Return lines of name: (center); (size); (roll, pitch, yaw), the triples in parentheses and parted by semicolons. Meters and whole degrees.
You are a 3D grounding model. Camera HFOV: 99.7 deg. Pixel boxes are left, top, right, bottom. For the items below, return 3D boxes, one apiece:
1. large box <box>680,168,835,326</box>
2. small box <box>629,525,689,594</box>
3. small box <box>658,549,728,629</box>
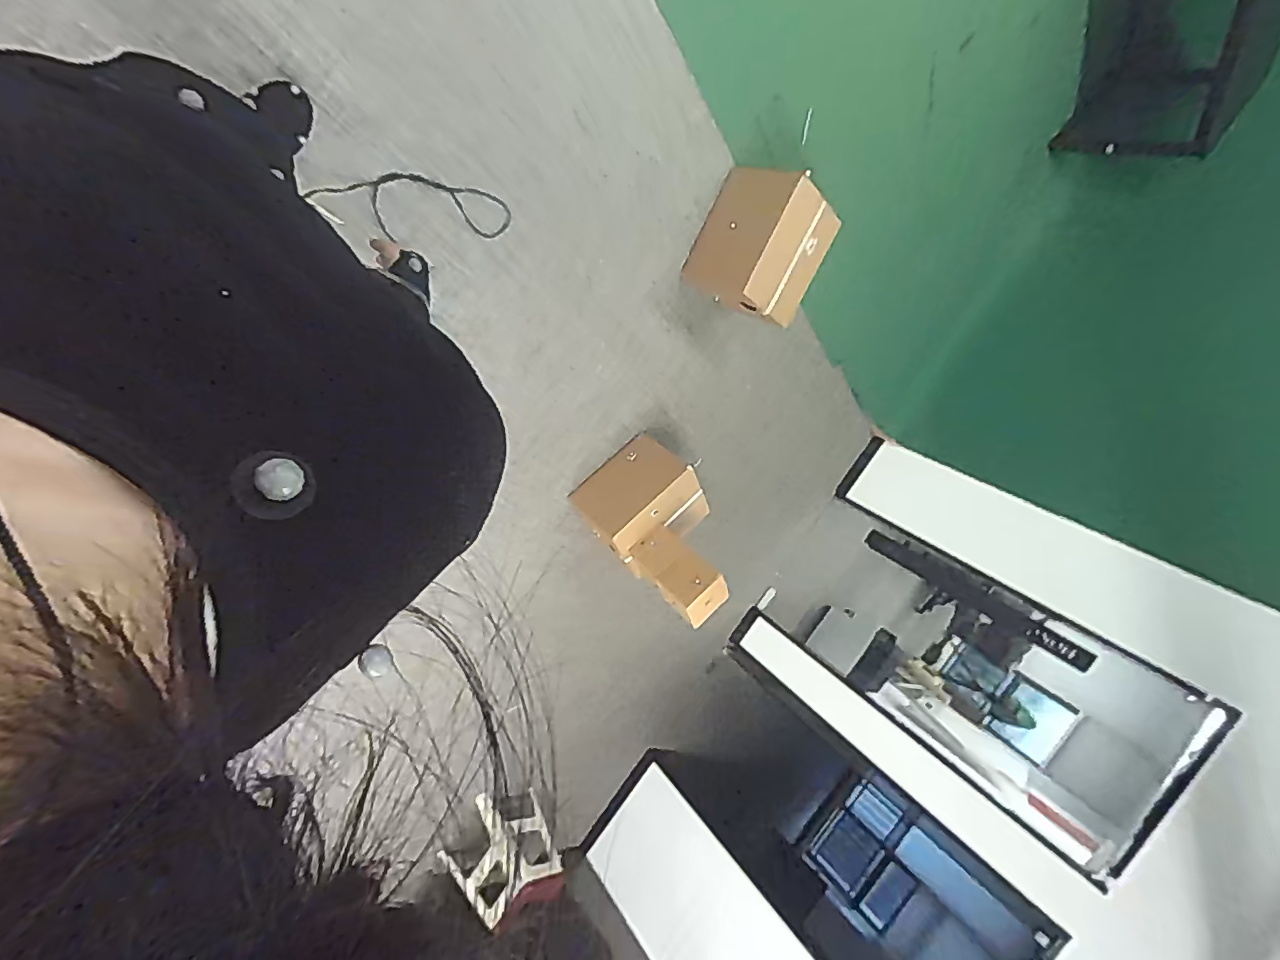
large box: (0.409, -0.819, 1.918); (0.320, 0.320, 0.408); (14, 105, -48)
small box: (0.086, 0.300, 2.008); (0.168, 0.176, 0.179); (-42, 140, -14)
small box: (0.181, 0.380, 1.904); (0.179, 0.176, 0.168); (-41, 140, -15)
